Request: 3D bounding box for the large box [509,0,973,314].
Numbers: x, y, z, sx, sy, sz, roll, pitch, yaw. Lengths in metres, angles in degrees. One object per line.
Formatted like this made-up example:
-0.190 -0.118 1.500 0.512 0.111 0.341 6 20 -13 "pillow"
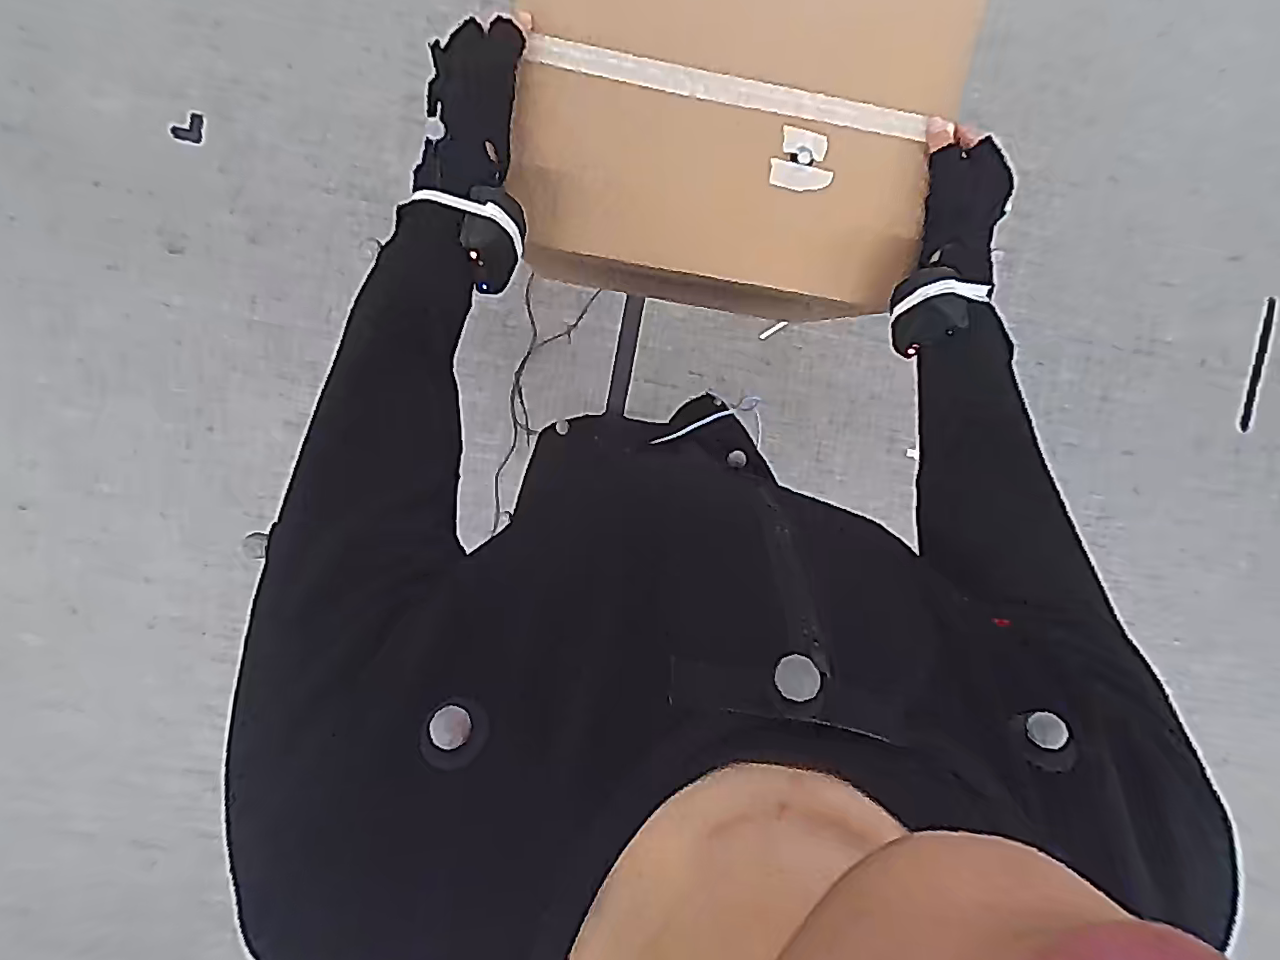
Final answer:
0.079 -0.392 0.640 0.408 0.320 0.320 8 104 -6 "large box"
